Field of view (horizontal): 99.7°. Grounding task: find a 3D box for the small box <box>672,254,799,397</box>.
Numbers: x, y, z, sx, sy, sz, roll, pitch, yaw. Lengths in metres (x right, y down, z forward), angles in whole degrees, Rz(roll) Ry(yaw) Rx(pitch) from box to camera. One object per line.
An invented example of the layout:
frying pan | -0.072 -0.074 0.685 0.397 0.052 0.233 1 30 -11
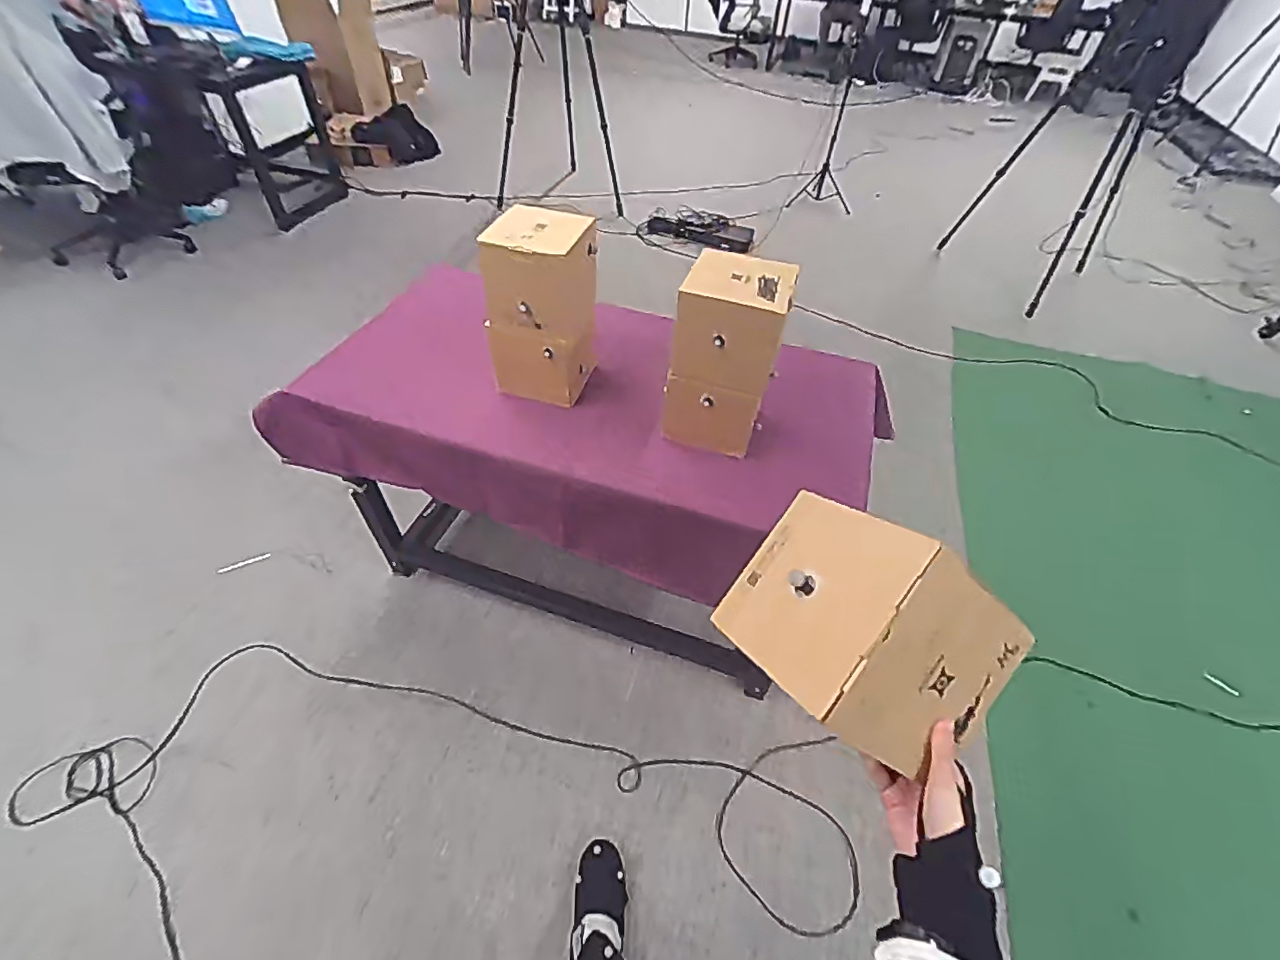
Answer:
small box | 0.165 -0.270 0.958 0.179 0.176 0.168 16 49 12

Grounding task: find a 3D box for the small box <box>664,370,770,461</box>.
small box | 0.154 -0.163 1.082 0.179 0.176 0.168 17 49 11

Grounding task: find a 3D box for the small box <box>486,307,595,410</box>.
small box | -0.205 -0.273 1.162 0.179 0.176 0.168 13 48 7

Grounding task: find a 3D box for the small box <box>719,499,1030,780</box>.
small box | 0.208 0.134 0.513 0.168 0.179 0.176 -54 25 -2

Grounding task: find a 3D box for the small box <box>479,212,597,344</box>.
small box | -0.189 -0.390 1.046 0.168 0.176 0.179 13 48 8
